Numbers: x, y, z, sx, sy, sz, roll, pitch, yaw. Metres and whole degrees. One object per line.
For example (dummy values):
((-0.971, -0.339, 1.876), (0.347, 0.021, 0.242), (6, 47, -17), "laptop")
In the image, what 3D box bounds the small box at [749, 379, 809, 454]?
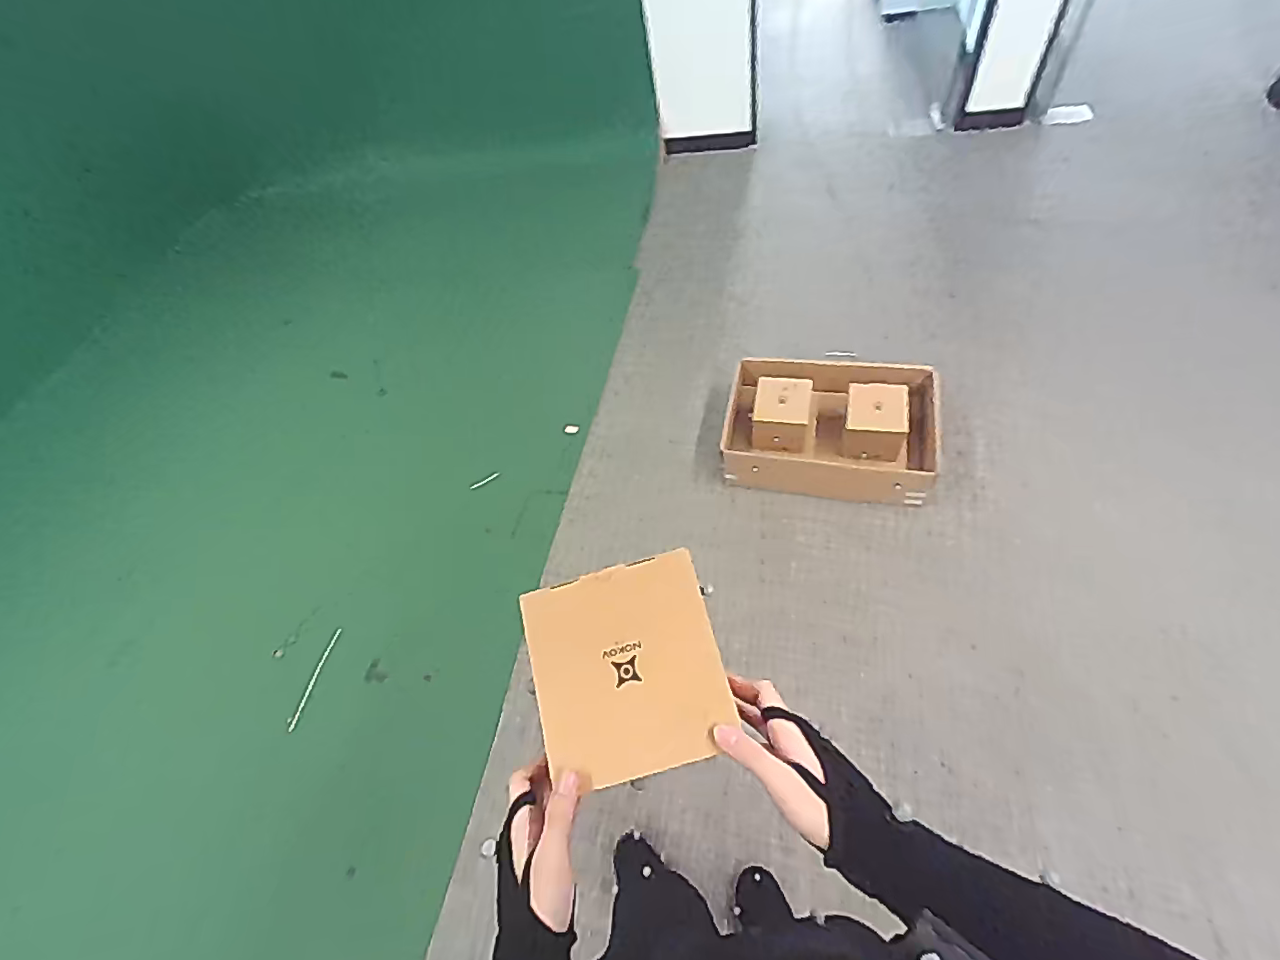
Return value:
((0.446, -0.202, 1.745), (0.168, 0.176, 0.179), (7, 60, 15), "small box")

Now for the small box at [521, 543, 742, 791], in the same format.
((-0.004, 0.184, 0.542), (0.168, 0.176, 0.179), (-15, 66, 0), "small box")

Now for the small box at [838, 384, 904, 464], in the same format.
((0.710, -0.172, 1.673), (0.168, 0.176, 0.179), (6, 61, 17), "small box")
